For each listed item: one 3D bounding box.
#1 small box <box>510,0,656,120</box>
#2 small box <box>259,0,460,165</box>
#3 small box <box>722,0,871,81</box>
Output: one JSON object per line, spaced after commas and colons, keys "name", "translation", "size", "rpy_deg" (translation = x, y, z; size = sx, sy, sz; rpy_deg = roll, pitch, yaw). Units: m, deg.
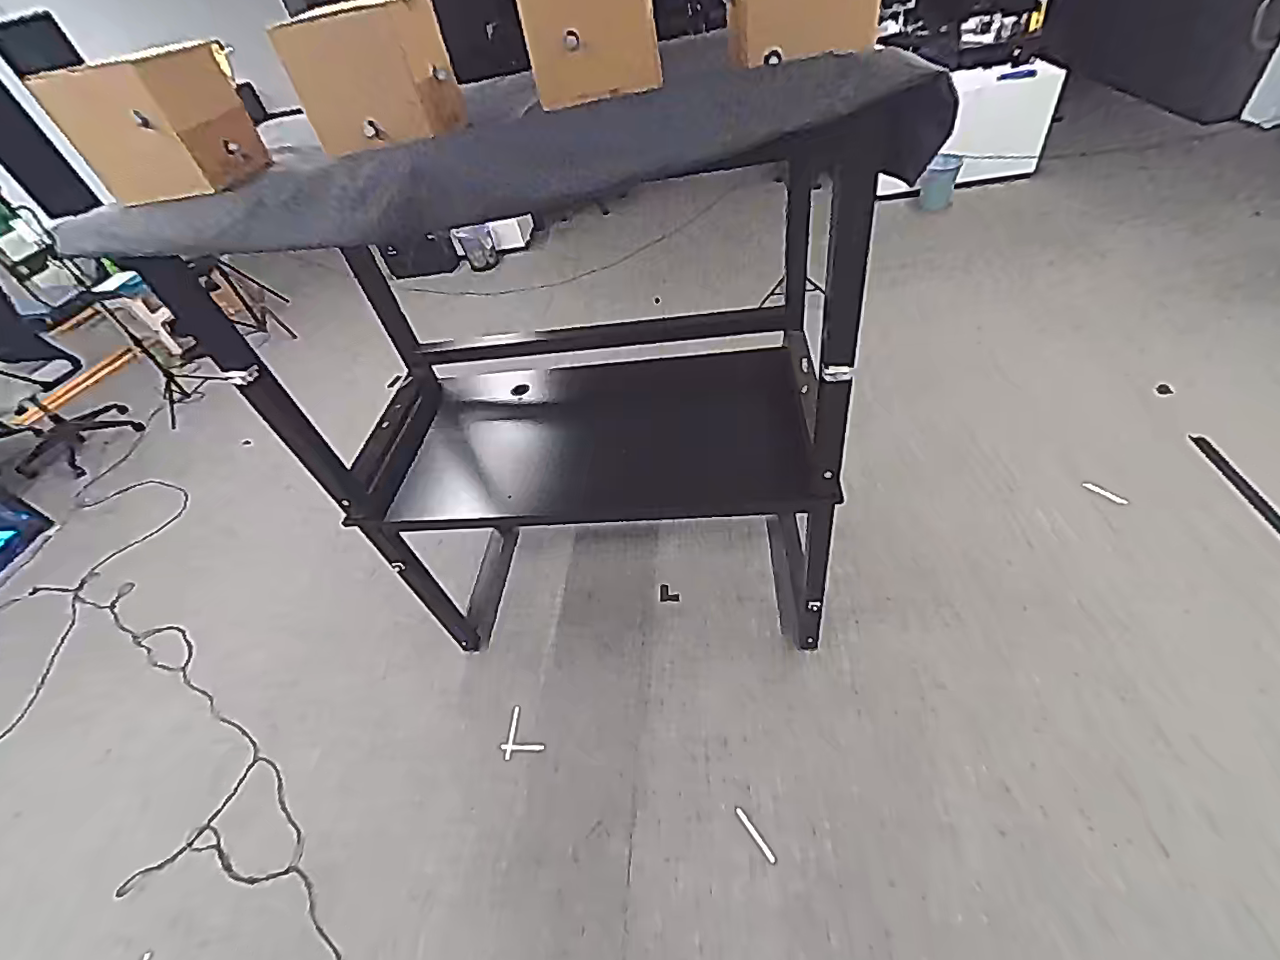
{"name": "small box", "translation": [-0.069, -0.632, 0.764], "size": [0.168, 0.176, 0.179], "rpy_deg": [-6, 45, 8]}
{"name": "small box", "translation": [-0.389, -0.586, 0.793], "size": [0.179, 0.176, 0.168], "rpy_deg": [-4, 44, 8]}
{"name": "small box", "translation": [0.200, -0.650, 0.712], "size": [0.168, 0.176, 0.179], "rpy_deg": [-8, 44, 6]}
